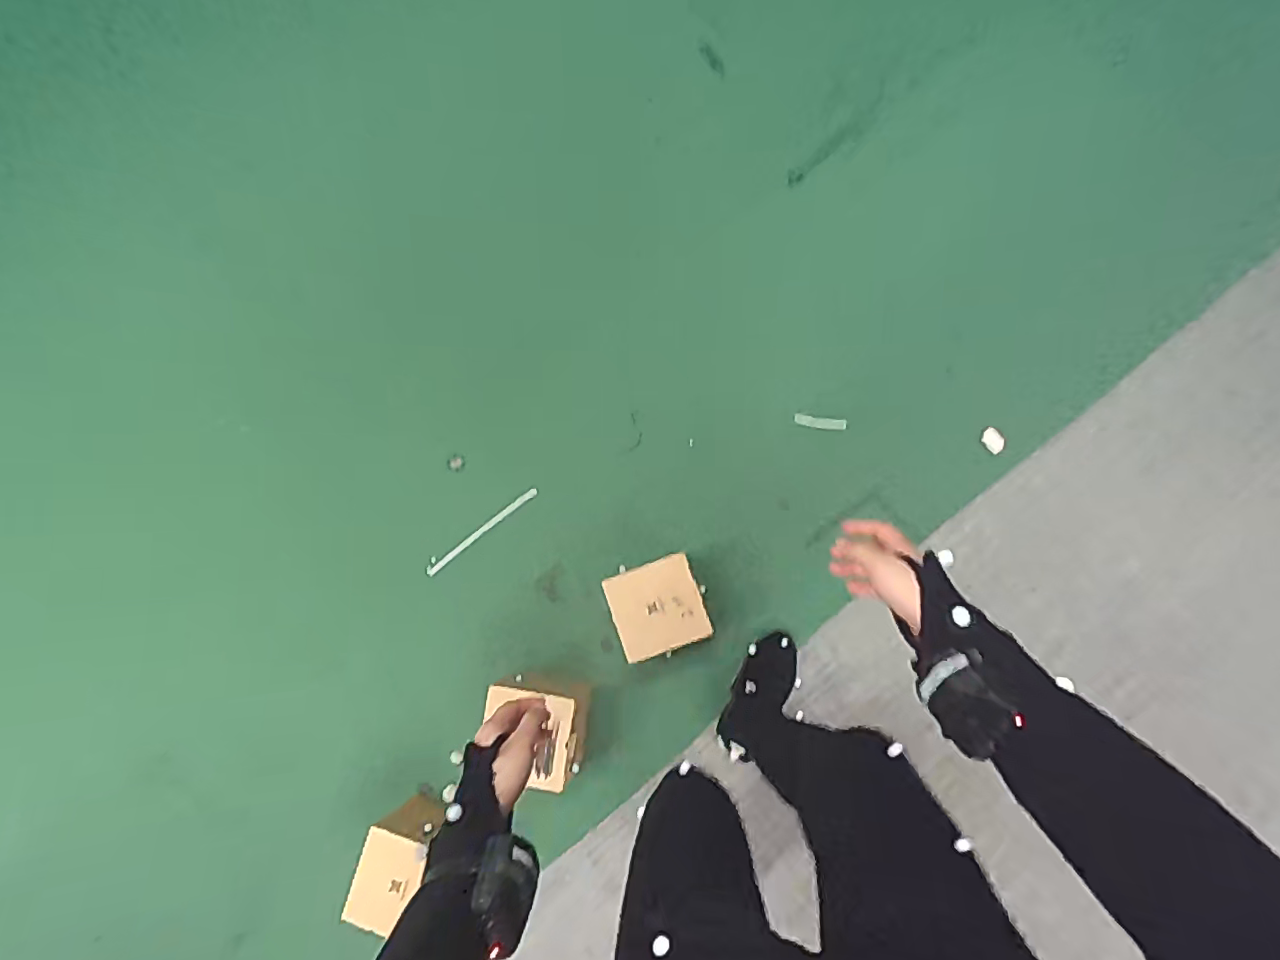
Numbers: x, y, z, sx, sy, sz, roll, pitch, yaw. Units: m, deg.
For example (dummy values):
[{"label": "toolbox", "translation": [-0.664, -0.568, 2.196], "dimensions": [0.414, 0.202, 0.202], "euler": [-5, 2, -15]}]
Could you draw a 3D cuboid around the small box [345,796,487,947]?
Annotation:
[{"label": "small box", "translation": [-0.433, 0.758, 1.072], "dimensions": [0.179, 0.176, 0.168], "euler": [15, 81, 7]}]

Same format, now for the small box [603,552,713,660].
[{"label": "small box", "translation": [0.041, 0.258, 1.122], "dimensions": [0.179, 0.176, 0.168], "euler": [-20, 79, 0]}]
